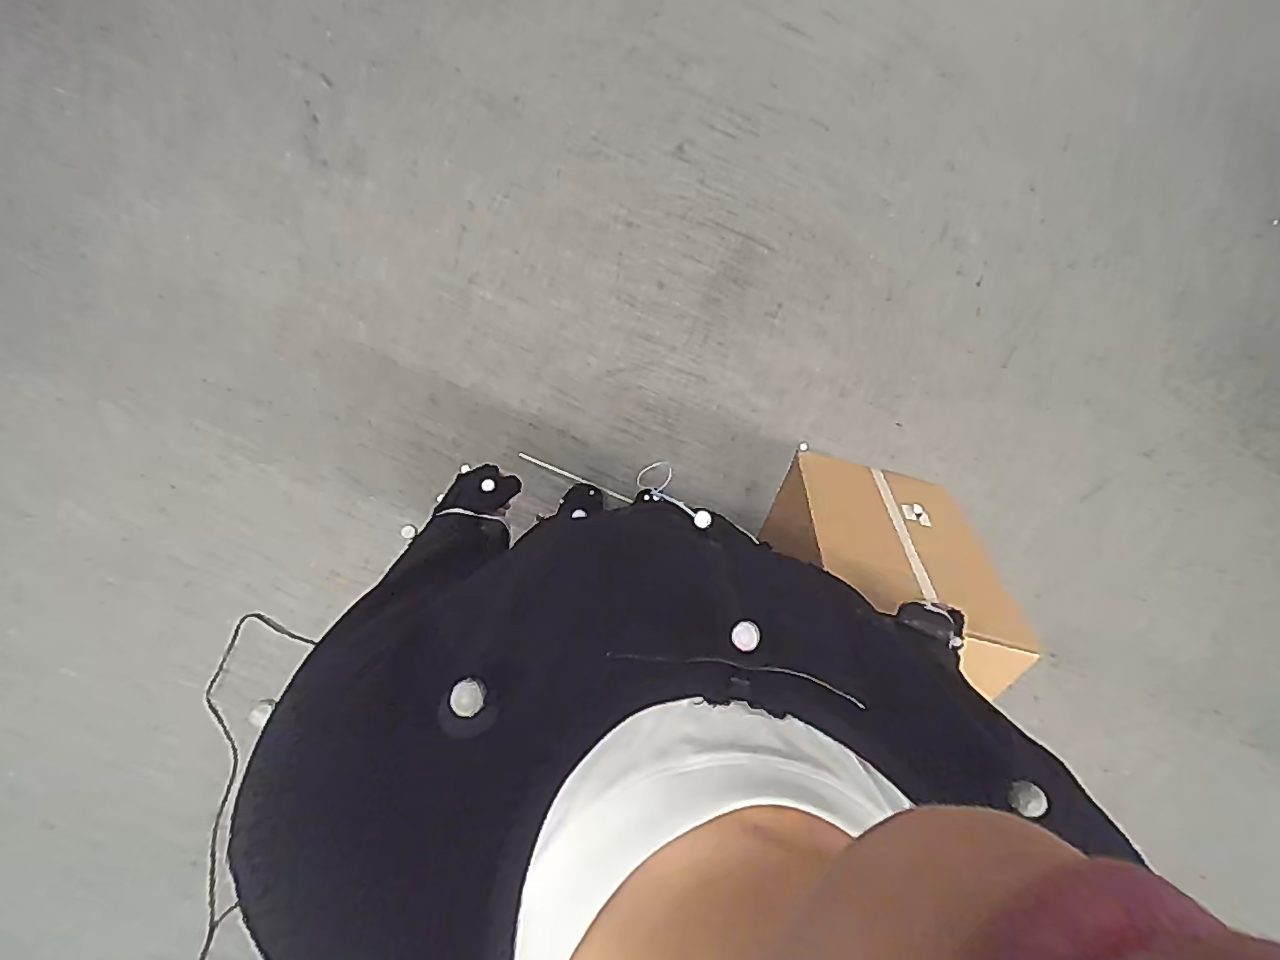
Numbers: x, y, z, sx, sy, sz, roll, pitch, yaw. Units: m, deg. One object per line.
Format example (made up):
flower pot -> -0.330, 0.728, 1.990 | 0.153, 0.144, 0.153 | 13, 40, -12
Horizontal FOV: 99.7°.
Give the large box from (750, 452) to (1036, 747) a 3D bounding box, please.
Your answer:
large box -> 0.408, 0.209, 1.007 | 0.320, 0.408, 0.320 | 15, 126, -2
